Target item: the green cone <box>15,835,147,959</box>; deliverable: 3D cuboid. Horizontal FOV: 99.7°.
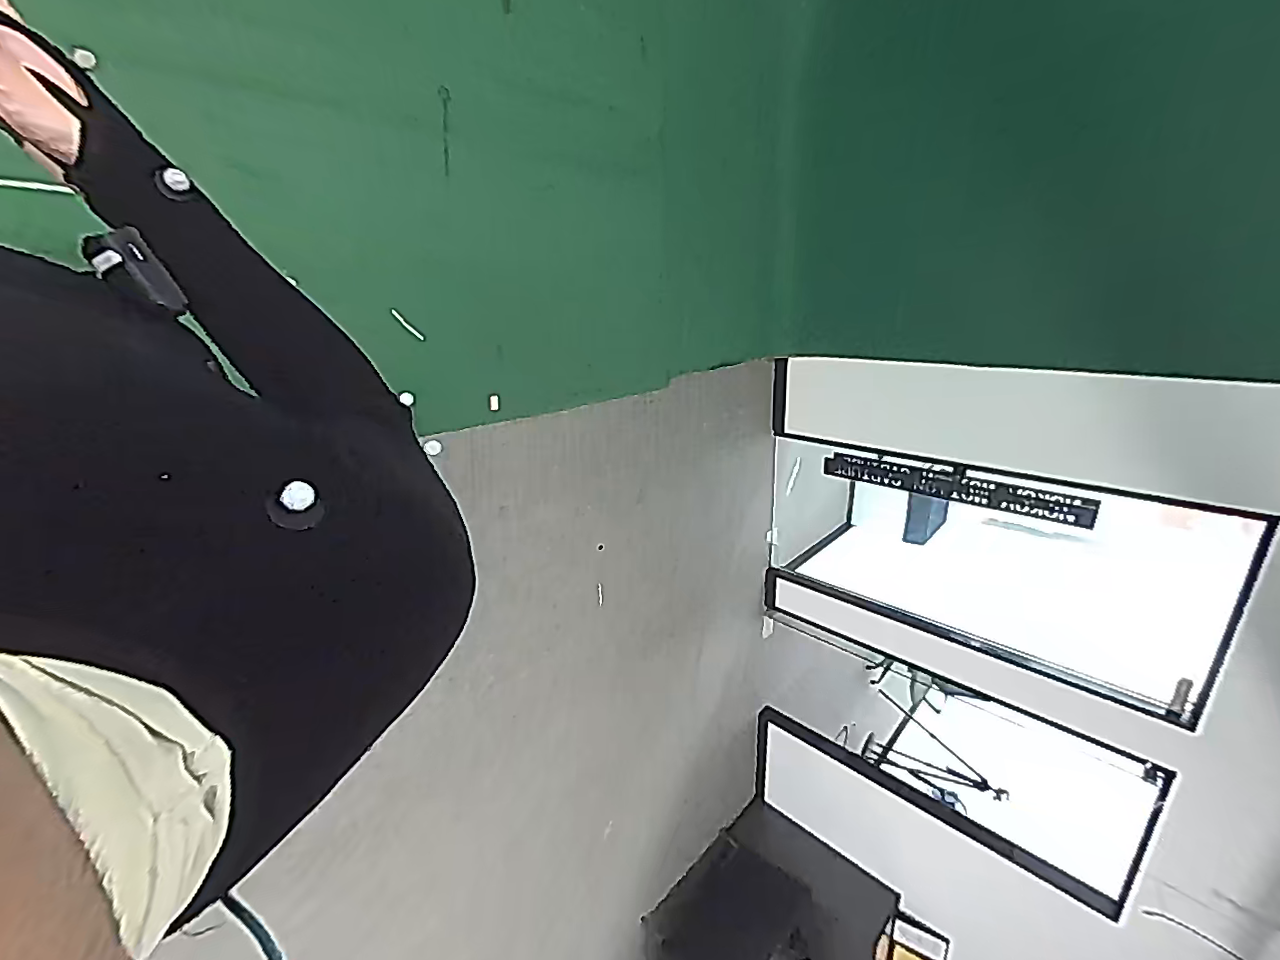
[{"bbox_3d":[-1.258,1.047,1.228,0.202,0.368,0.200,-19,115,-42],"label":"green cone"}]
